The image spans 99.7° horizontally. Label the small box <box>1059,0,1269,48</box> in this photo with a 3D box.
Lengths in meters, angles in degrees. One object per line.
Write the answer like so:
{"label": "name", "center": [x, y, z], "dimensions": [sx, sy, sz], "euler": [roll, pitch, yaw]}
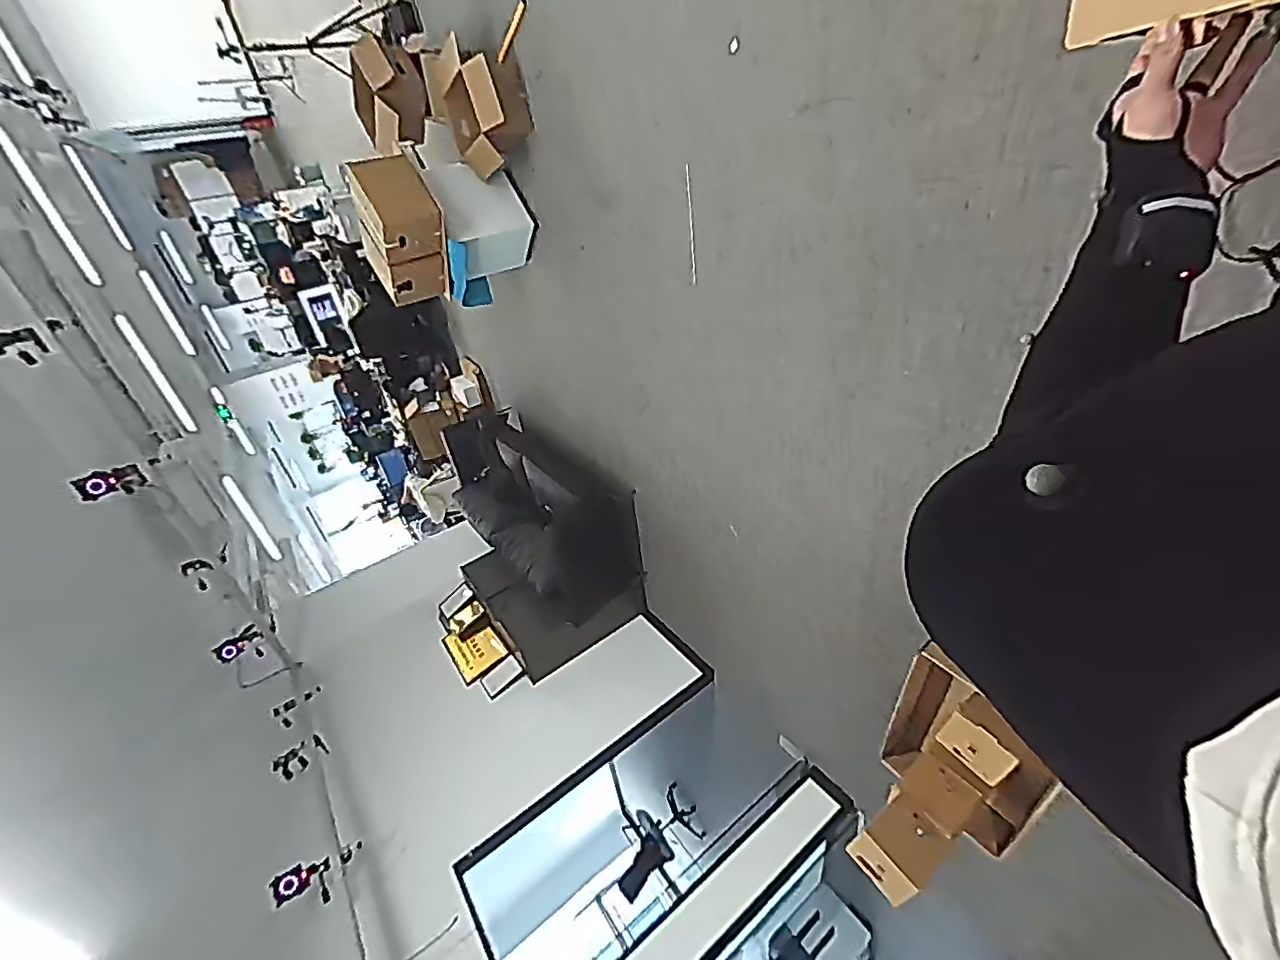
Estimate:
{"label": "small box", "center": [0.489, -0.485, 0.430], "dimensions": [0.168, 0.176, 0.179], "euler": [45, 153, 55]}

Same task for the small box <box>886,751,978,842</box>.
{"label": "small box", "center": [0.825, 0.922, 1.540], "dimensions": [0.168, 0.176, 0.179], "euler": [35, 140, 43]}

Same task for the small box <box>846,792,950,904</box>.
{"label": "small box", "center": [0.697, 0.992, 1.464], "dimensions": [0.168, 0.176, 0.179], "euler": [42, 144, 35]}

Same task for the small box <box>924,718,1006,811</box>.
{"label": "small box", "center": [0.954, 0.860, 1.616], "dimensions": [0.168, 0.176, 0.179], "euler": [34, 140, 42]}
